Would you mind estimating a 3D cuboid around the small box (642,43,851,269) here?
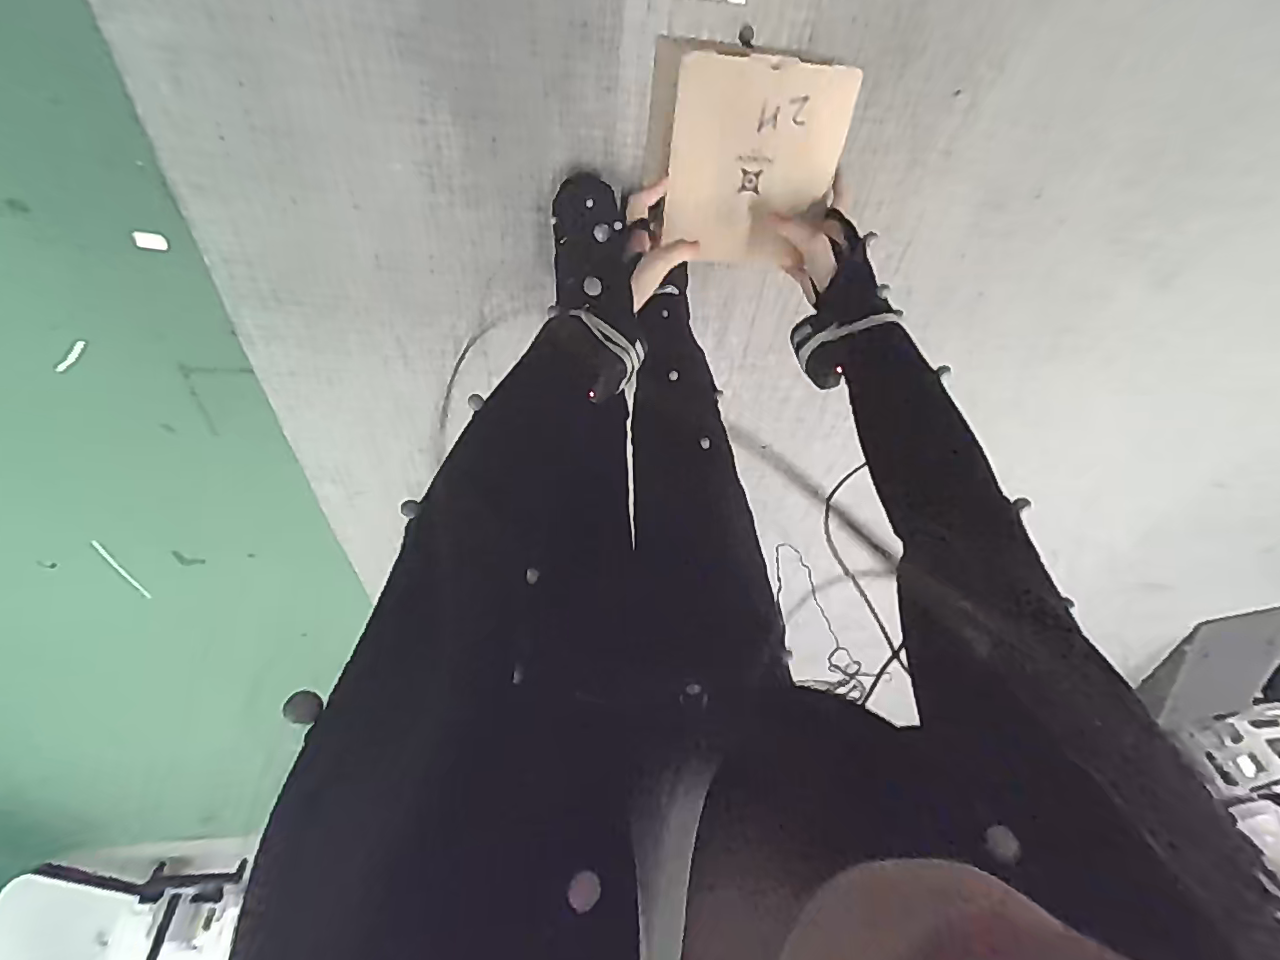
[{"bbox_3d":[0.096,-0.352,0.589,0.168,0.176,0.179,0,131,-8],"label":"small box"}]
